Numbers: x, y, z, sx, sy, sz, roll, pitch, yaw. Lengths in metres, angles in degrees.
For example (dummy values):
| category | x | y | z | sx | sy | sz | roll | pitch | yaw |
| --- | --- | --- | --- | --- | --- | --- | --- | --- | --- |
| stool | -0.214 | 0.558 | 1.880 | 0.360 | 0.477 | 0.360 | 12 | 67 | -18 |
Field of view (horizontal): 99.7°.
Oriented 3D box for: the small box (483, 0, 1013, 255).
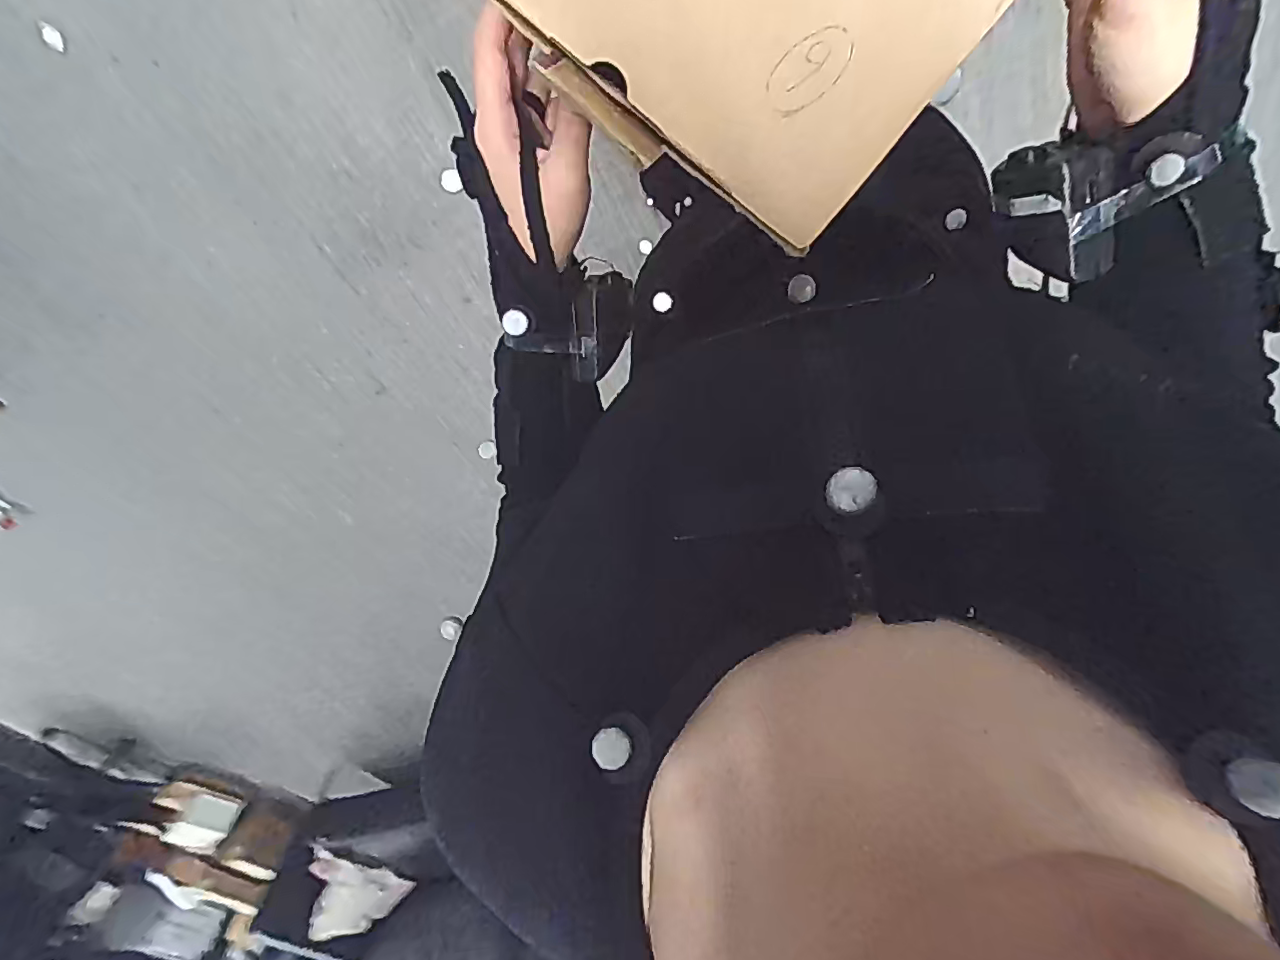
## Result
| category | x | y | z | sx | sy | sz | roll | pitch | yaw |
| --- | --- | --- | --- | --- | --- | --- | --- | --- | --- |
| small box | 0.059 | -0.222 | 0.208 | 0.168 | 0.176 | 0.179 | 36 | 122 | -9 |
